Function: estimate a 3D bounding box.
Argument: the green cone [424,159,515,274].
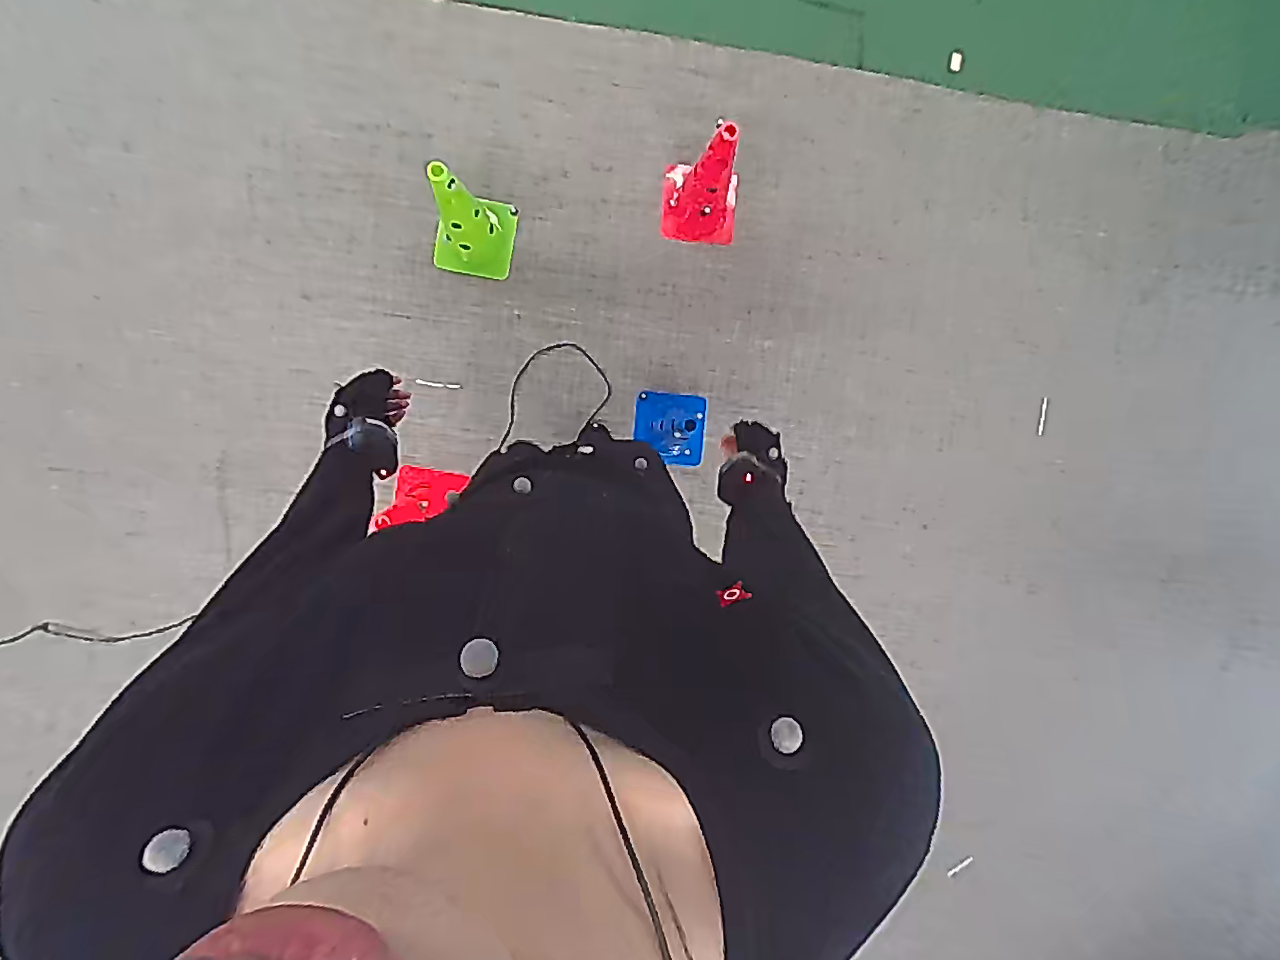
[{"bbox_3d":[-0.428,-0.644,1.259,0.200,0.368,0.202,8,94,-5],"label":"green cone"}]

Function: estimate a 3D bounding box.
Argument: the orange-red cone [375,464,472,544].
[{"bbox_3d":[-0.554,0.076,1.304,0.198,0.360,0.199,11,92,-6],"label":"orange-red cone"}]
